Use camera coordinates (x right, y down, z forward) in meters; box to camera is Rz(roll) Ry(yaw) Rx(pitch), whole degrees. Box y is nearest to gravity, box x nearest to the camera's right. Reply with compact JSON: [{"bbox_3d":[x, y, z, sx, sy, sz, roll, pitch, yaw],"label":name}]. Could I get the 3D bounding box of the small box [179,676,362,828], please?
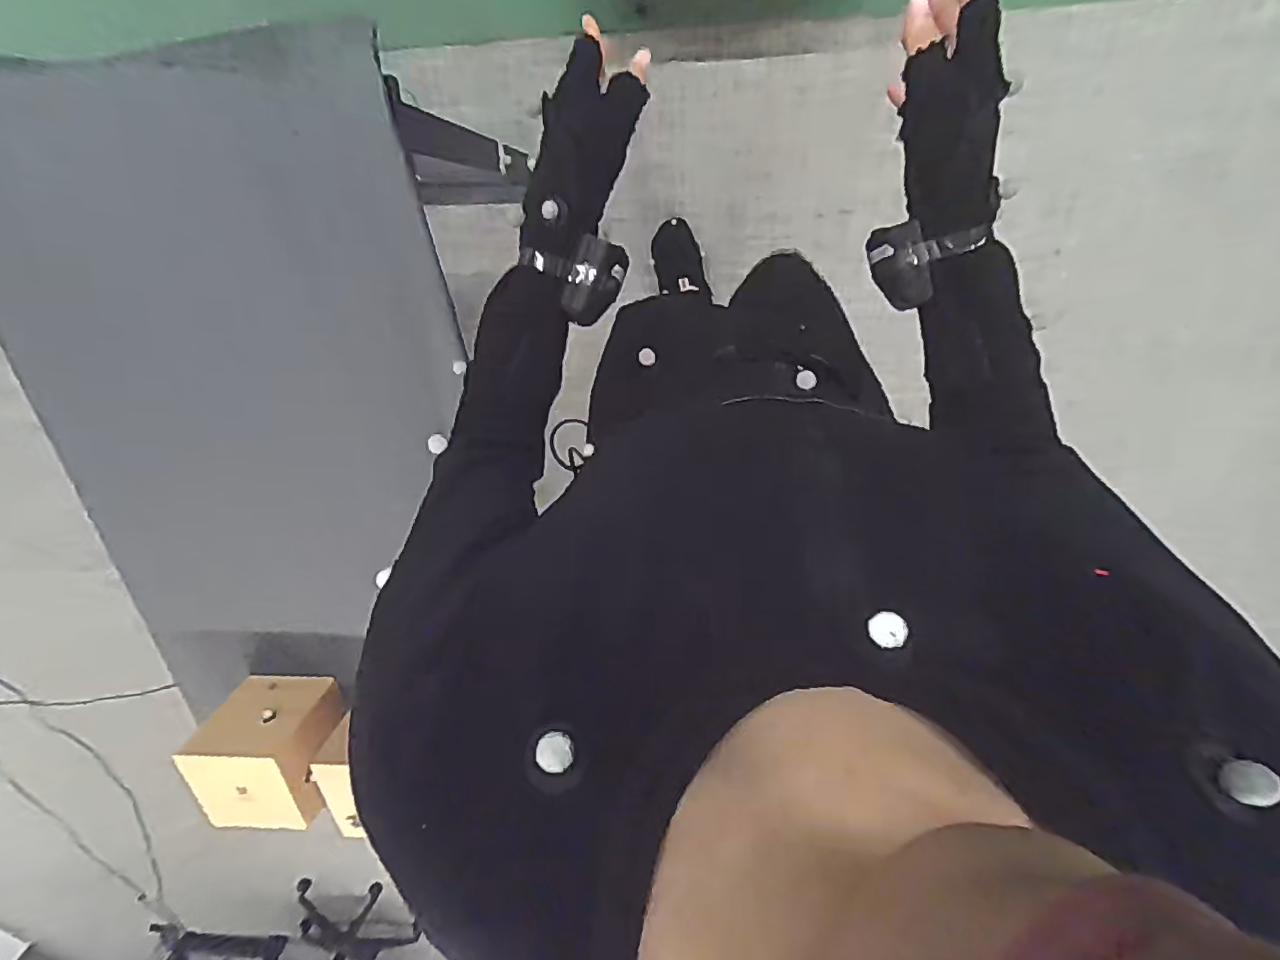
[{"bbox_3d":[-0.612,0.456,0.923,0.168,0.176,0.179,-1,116,5],"label":"small box"}]
